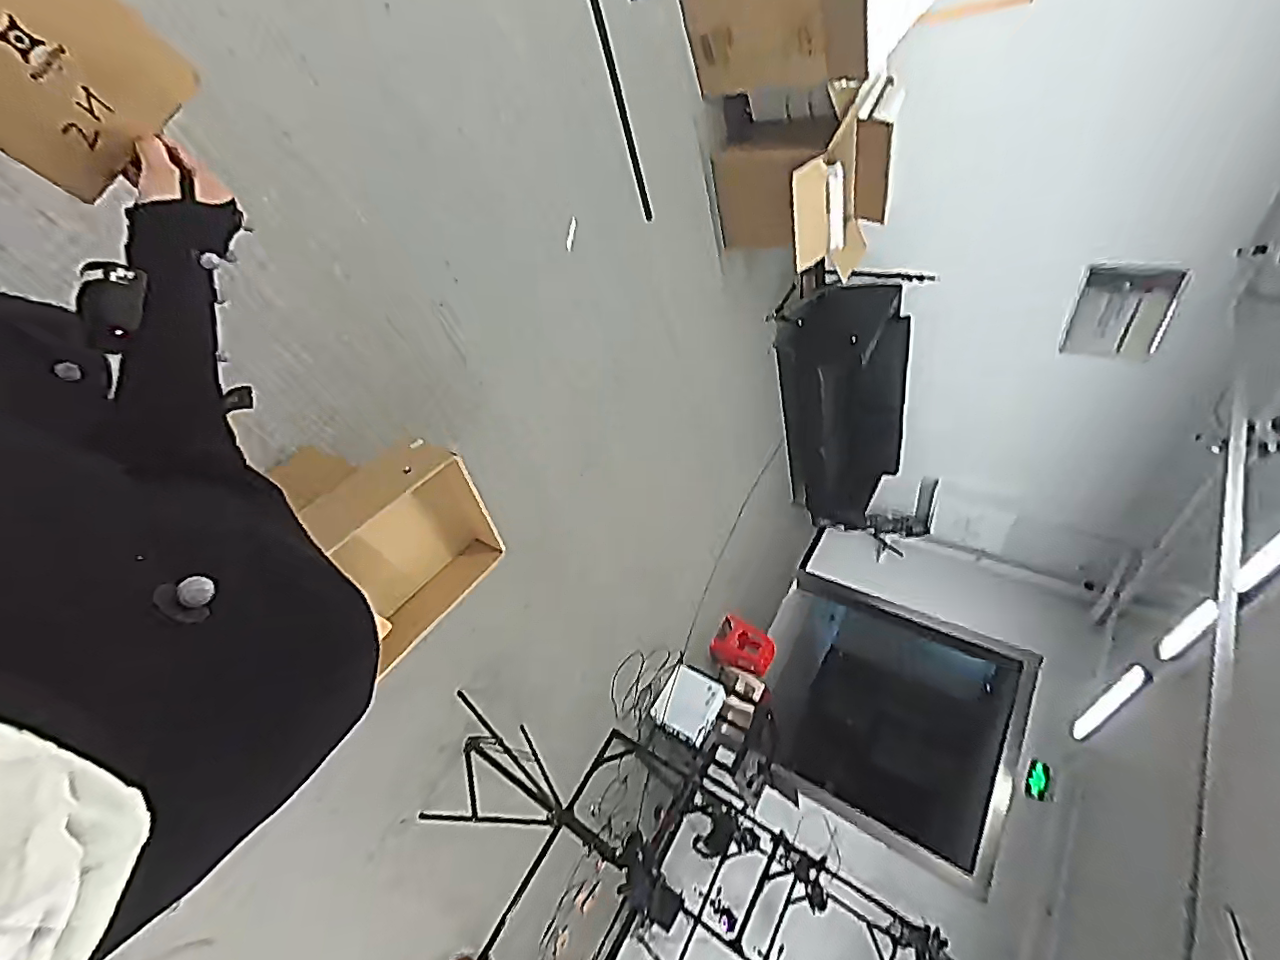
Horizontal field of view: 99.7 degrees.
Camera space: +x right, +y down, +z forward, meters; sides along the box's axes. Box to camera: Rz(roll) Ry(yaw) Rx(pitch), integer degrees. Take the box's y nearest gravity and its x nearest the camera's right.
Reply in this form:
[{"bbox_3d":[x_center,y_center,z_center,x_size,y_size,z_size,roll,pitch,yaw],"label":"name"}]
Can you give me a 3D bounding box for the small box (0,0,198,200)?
[{"bbox_3d":[-0.545,-0.384,0.454,0.168,0.176,0.179,-52,157,-3],"label":"small box"}]
